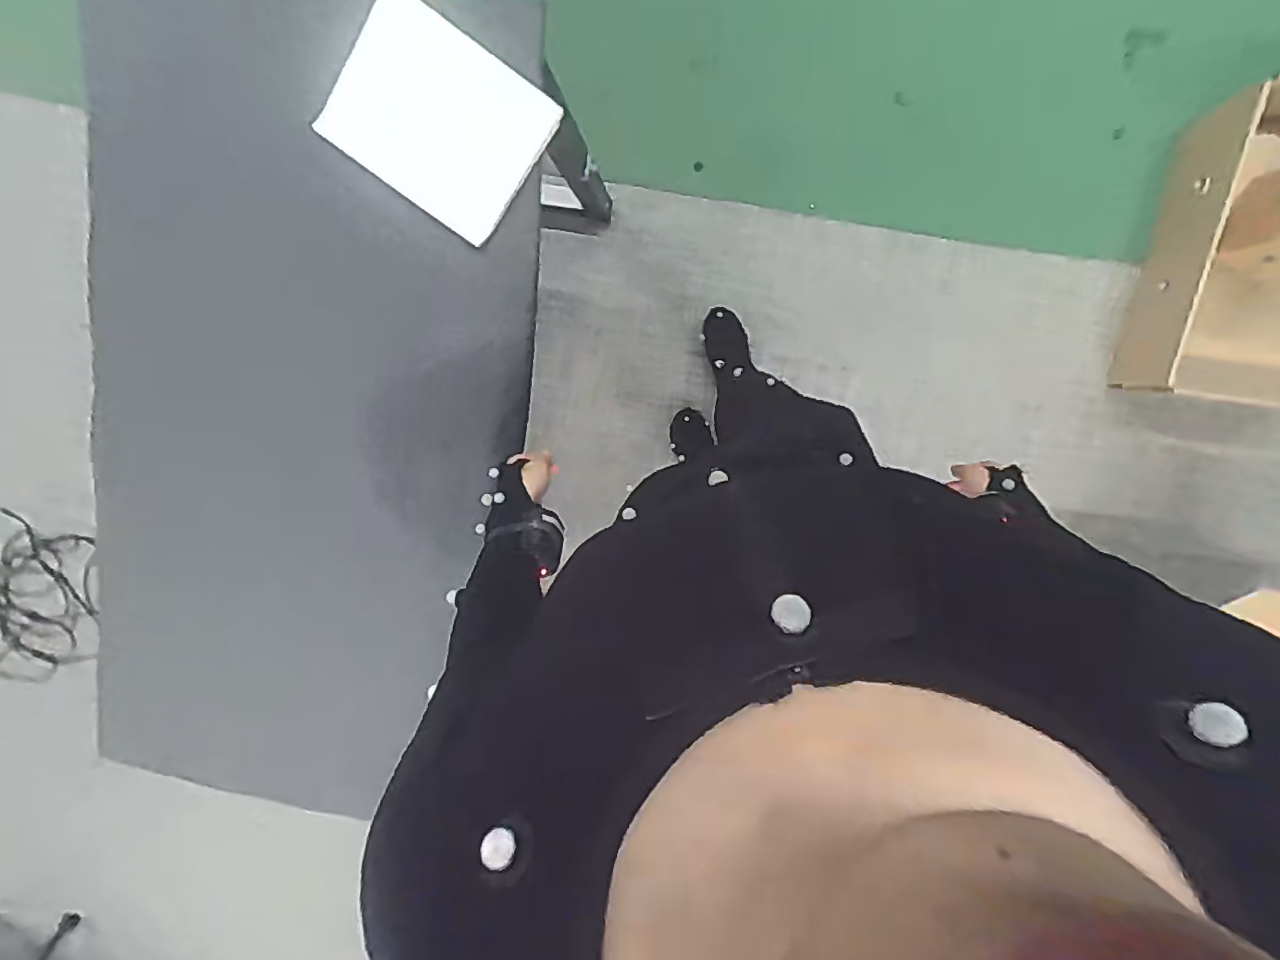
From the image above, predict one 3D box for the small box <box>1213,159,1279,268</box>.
[{"bbox_3d":[1.384,-0.564,1.133,0.168,0.176,0.179,20,104,0],"label":"small box"}]
